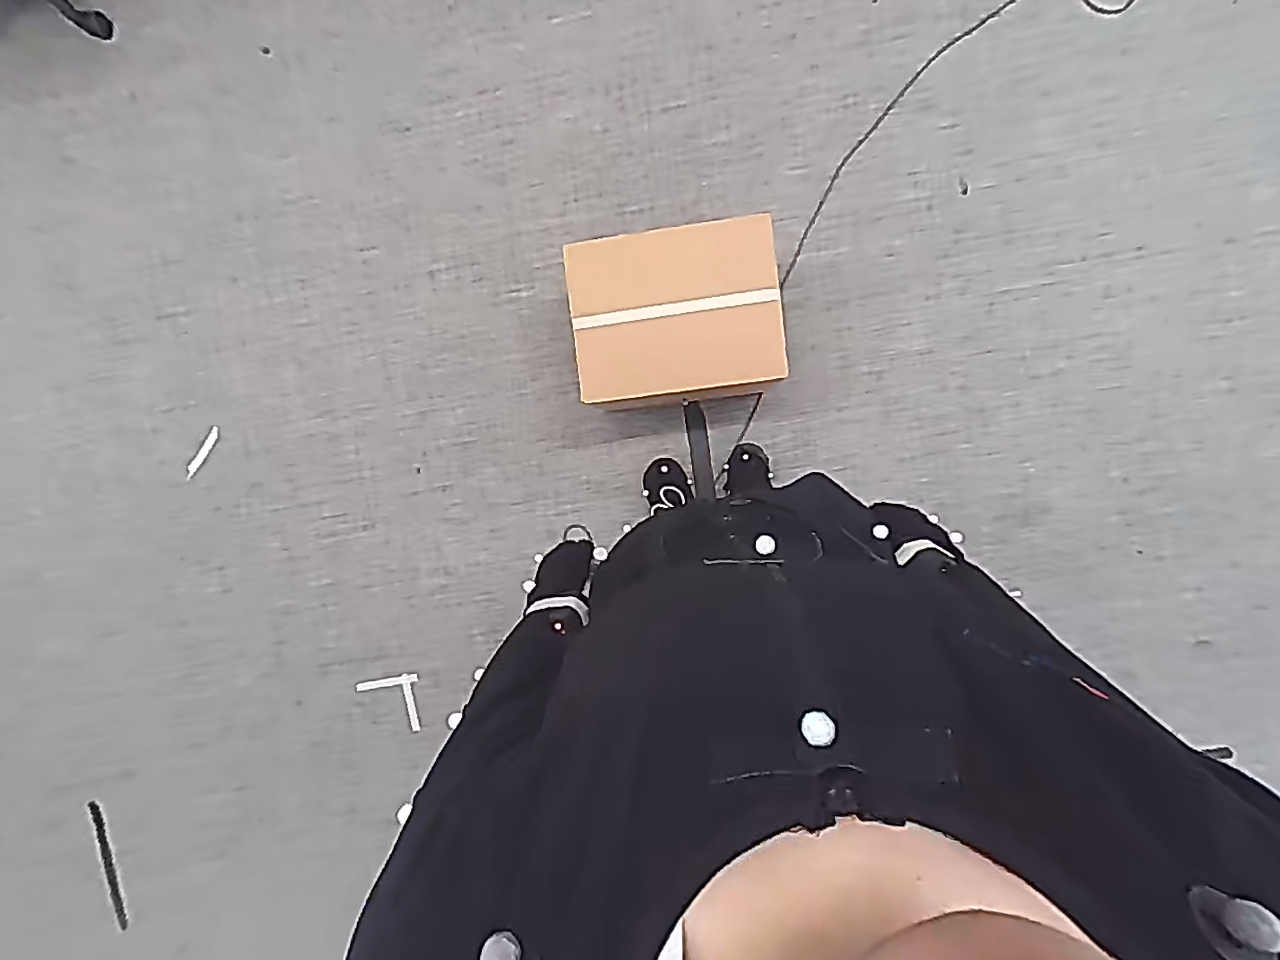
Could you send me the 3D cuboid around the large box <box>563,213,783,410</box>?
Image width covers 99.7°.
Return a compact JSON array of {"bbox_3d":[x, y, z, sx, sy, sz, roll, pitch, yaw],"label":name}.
[{"bbox_3d":[0.072,-0.342,1.200,0.408,0.320,0.320,-7,95,4],"label":"large box"}]
